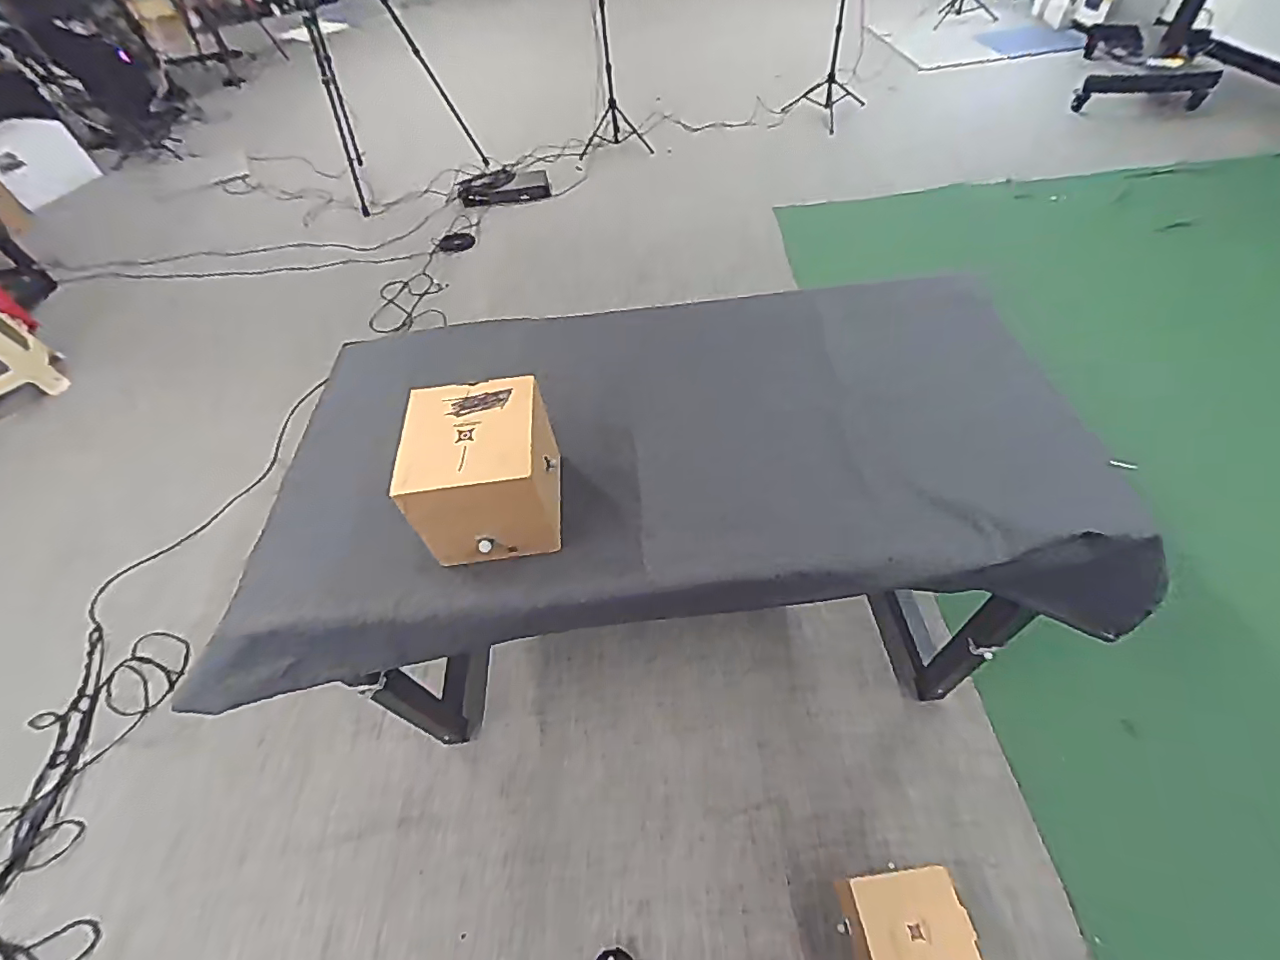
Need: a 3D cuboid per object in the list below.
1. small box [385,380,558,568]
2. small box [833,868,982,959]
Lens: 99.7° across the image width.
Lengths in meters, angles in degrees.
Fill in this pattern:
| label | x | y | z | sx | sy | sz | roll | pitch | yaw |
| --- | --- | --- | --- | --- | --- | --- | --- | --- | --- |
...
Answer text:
| label | x | y | z | sx | sy | sz | roll | pitch | yaw |
| --- | --- | --- | --- | --- | --- | --- | --- | --- | --- |
| small box | -0.208 | -0.006 | 0.720 | 0.168 | 0.176 | 0.179 | -8 | 52 | 0 |
| small box | 0.461 | 0.793 | 0.947 | 0.179 | 0.176 | 0.168 | -9 | 51 | 0 |
